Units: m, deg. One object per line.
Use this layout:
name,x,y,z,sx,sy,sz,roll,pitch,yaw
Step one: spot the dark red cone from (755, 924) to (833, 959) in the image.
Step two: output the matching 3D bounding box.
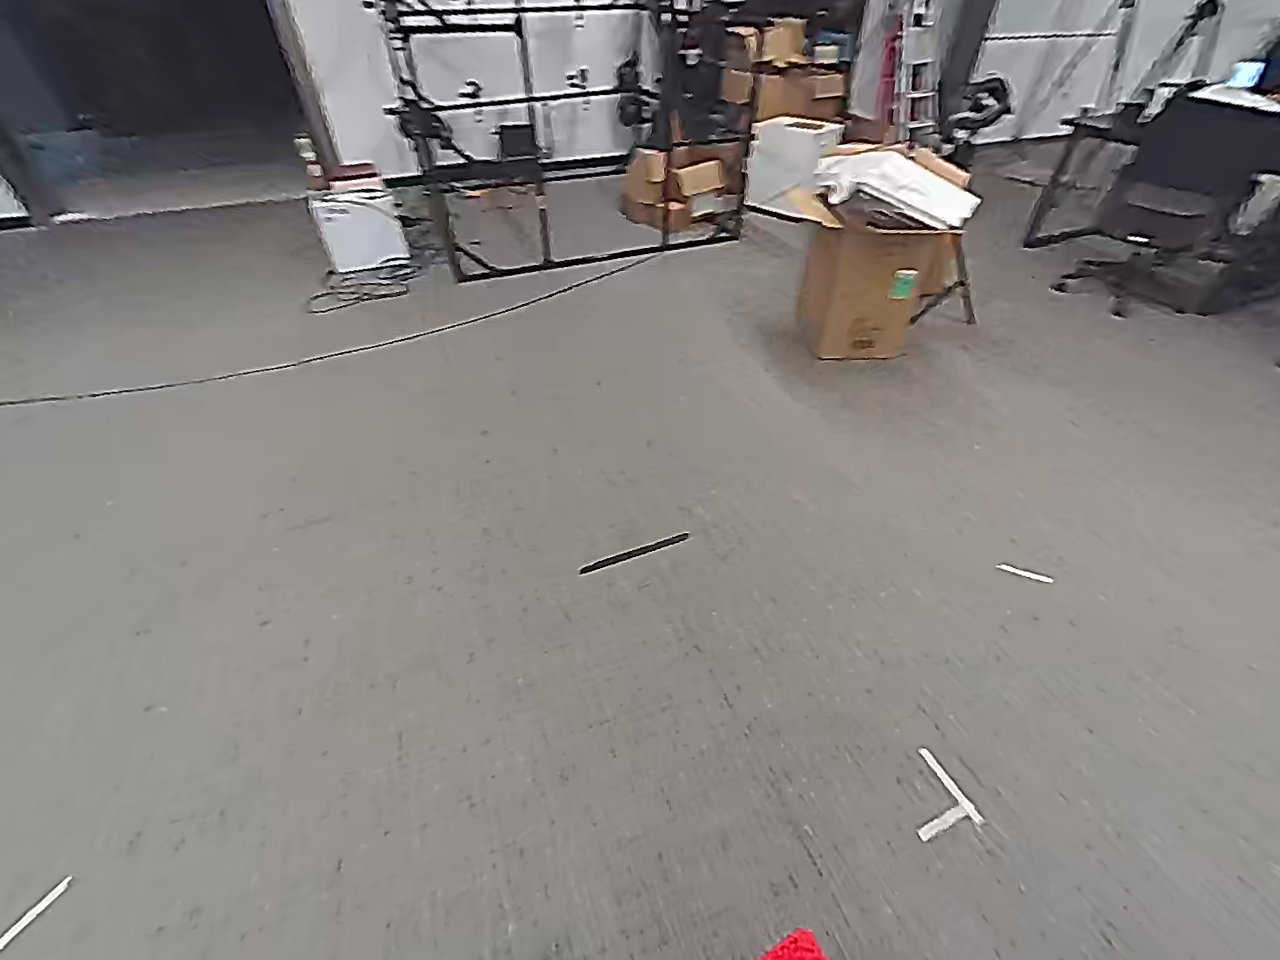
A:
dark red cone,0.286,0.821,0.837,0.202,0.394,0.201,-21,47,-21
